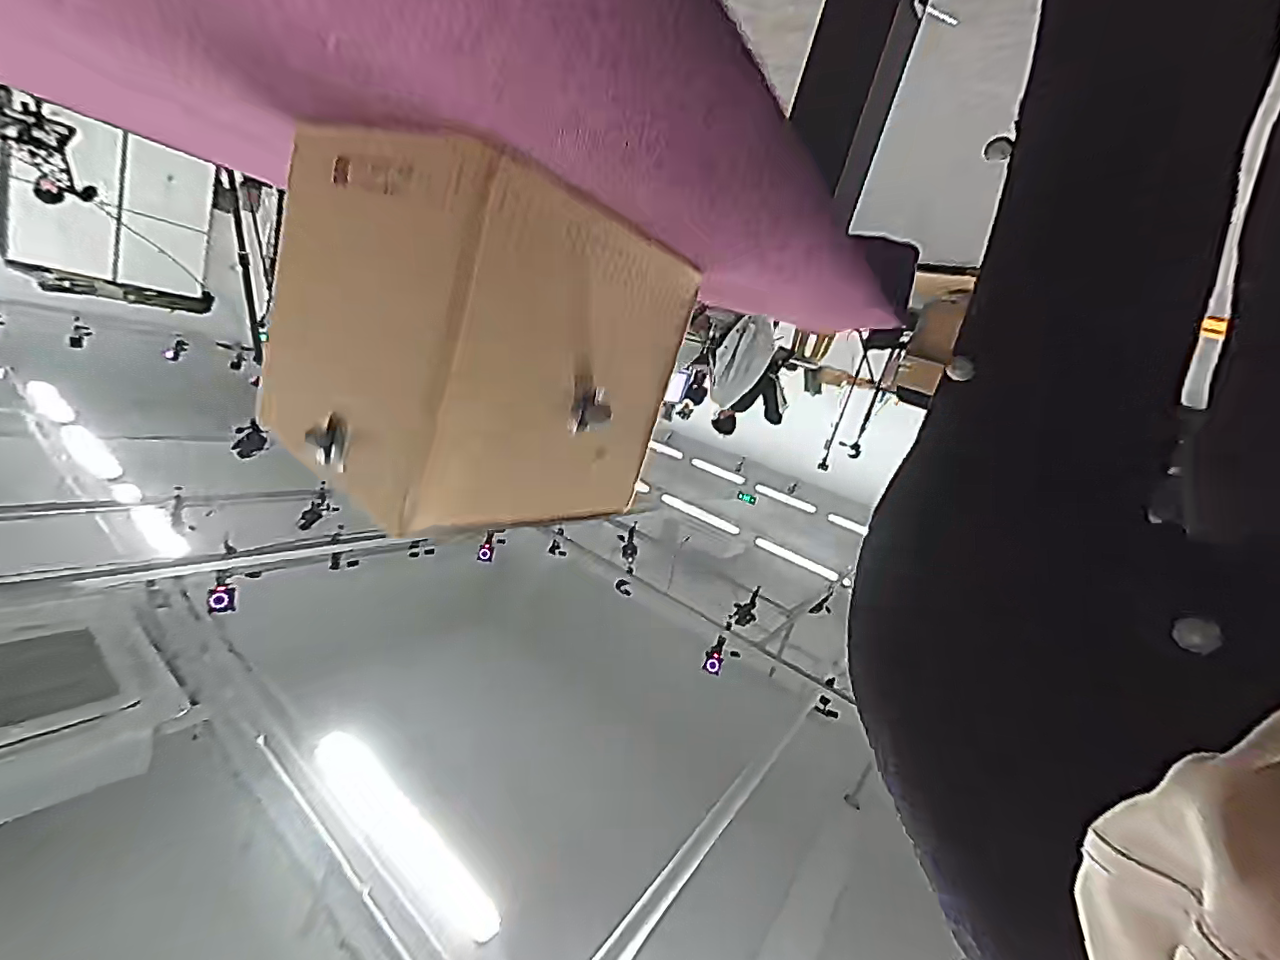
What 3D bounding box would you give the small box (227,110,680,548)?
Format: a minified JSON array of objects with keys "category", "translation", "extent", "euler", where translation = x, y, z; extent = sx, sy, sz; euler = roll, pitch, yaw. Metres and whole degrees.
[{"category":"small box","translation":[-0.101,-0.081,0.318],"extent":[0.168,0.176,0.179],"euler":[27,-164,31]}]
